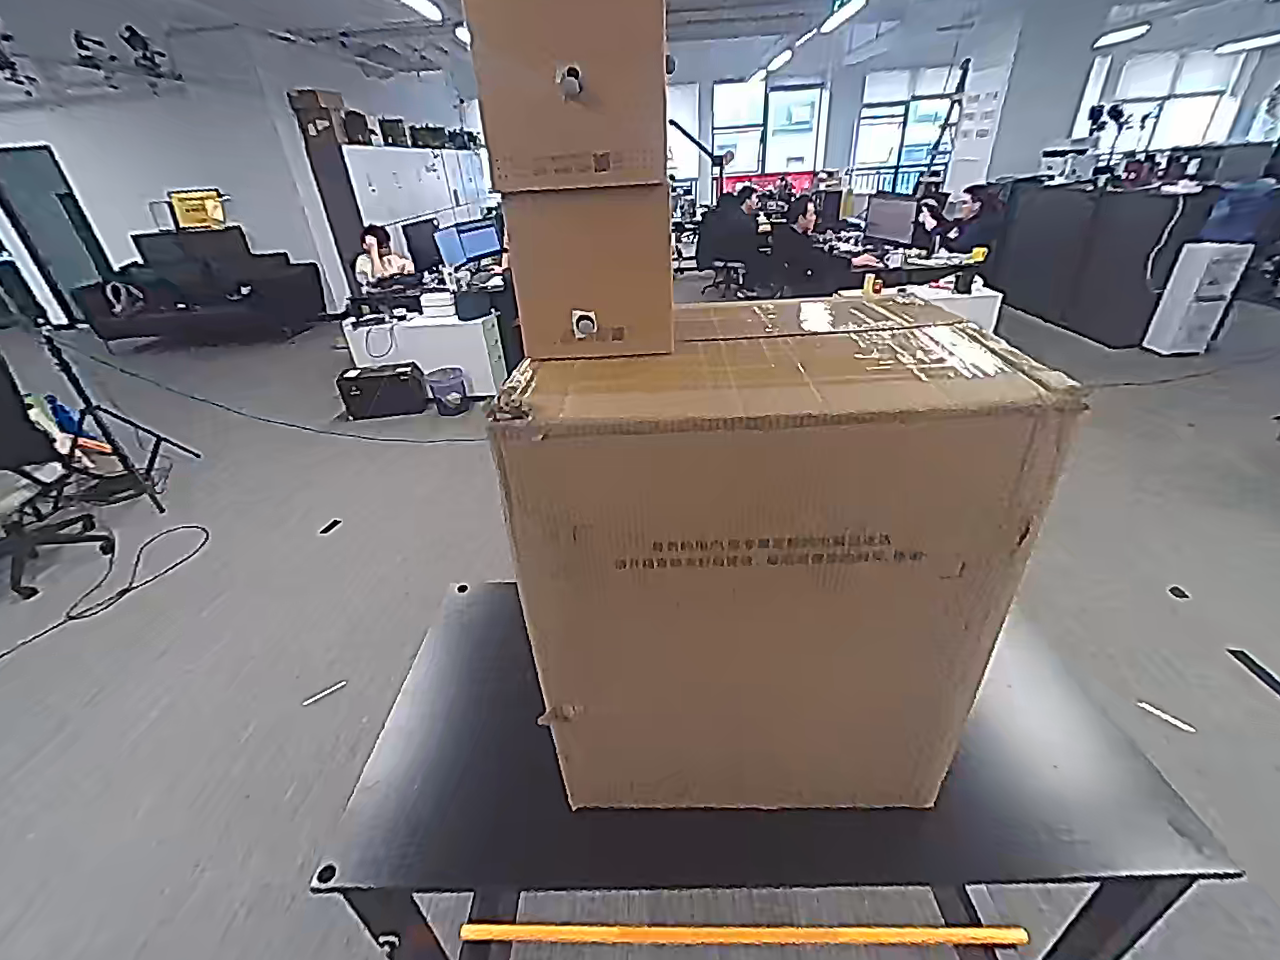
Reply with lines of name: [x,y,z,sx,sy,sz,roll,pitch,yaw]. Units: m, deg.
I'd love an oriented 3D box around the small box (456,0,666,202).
small box: [-0.063,-0.375,0.536,0.168,0.176,0.179,-4,30,1]

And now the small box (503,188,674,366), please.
small box: [-0.050,-0.241,0.631,0.168,0.176,0.179,-5,31,-1]
